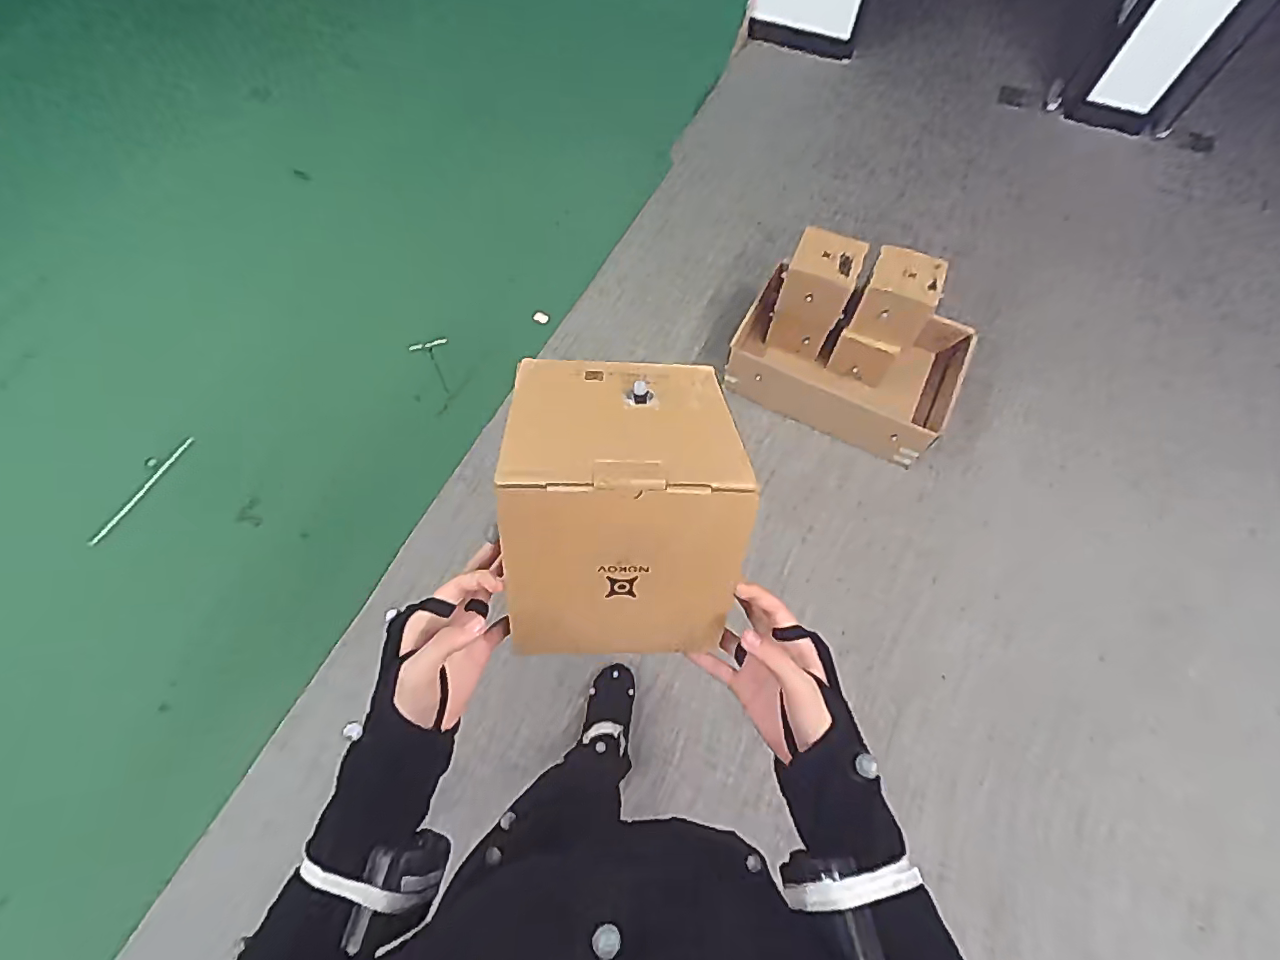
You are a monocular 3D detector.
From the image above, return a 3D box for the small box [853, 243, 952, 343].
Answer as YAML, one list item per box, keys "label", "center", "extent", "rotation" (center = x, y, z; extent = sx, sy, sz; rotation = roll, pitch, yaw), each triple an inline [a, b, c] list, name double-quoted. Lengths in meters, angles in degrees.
- label: "small box"
  center: [0.695, -0.494, 1.449]
  extent: [0.179, 0.176, 0.168]
  rotation: [21, 68, 12]

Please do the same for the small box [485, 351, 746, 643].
- label: "small box"
  center: [-0.022, 0.013, 0.446]
  extent: [0.168, 0.179, 0.176]
  rotation: [1, 38, -4]

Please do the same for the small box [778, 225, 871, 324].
- label: "small box"
  center: [0.500, -0.555, 1.480]
  extent: [0.179, 0.176, 0.168]
  rotation: [22, 69, 11]

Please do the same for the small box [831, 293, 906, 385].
- label: "small box"
  center: [0.686, -0.416, 1.593]
  extent: [0.168, 0.176, 0.179]
  rotation: [25, 70, 14]
